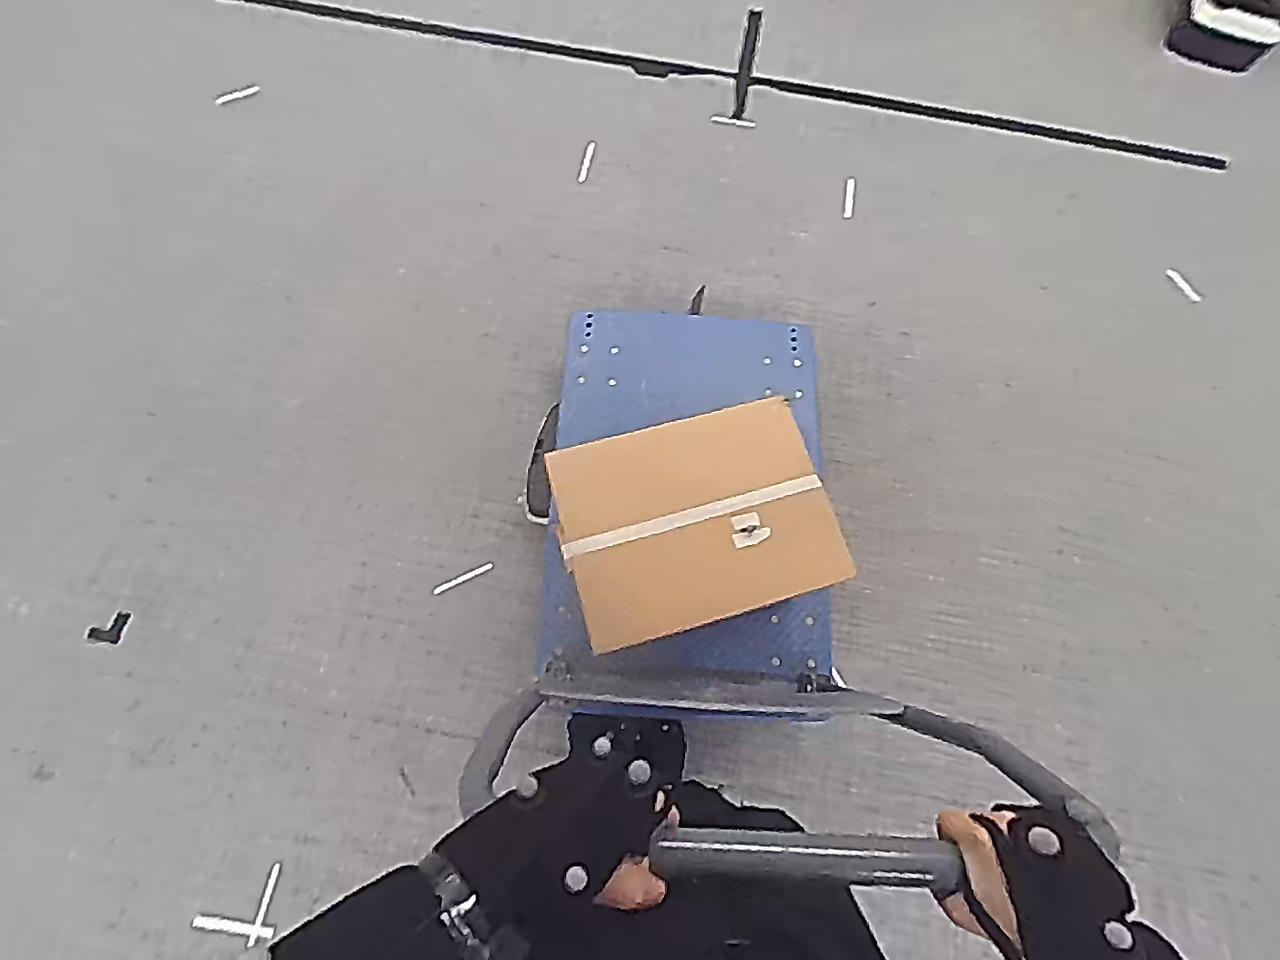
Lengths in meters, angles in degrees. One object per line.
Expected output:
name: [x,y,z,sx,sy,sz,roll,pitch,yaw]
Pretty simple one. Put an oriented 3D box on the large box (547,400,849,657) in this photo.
large box: [0.076,0.104,0.967,0.408,0.320,0.320,-15,74,-9]
